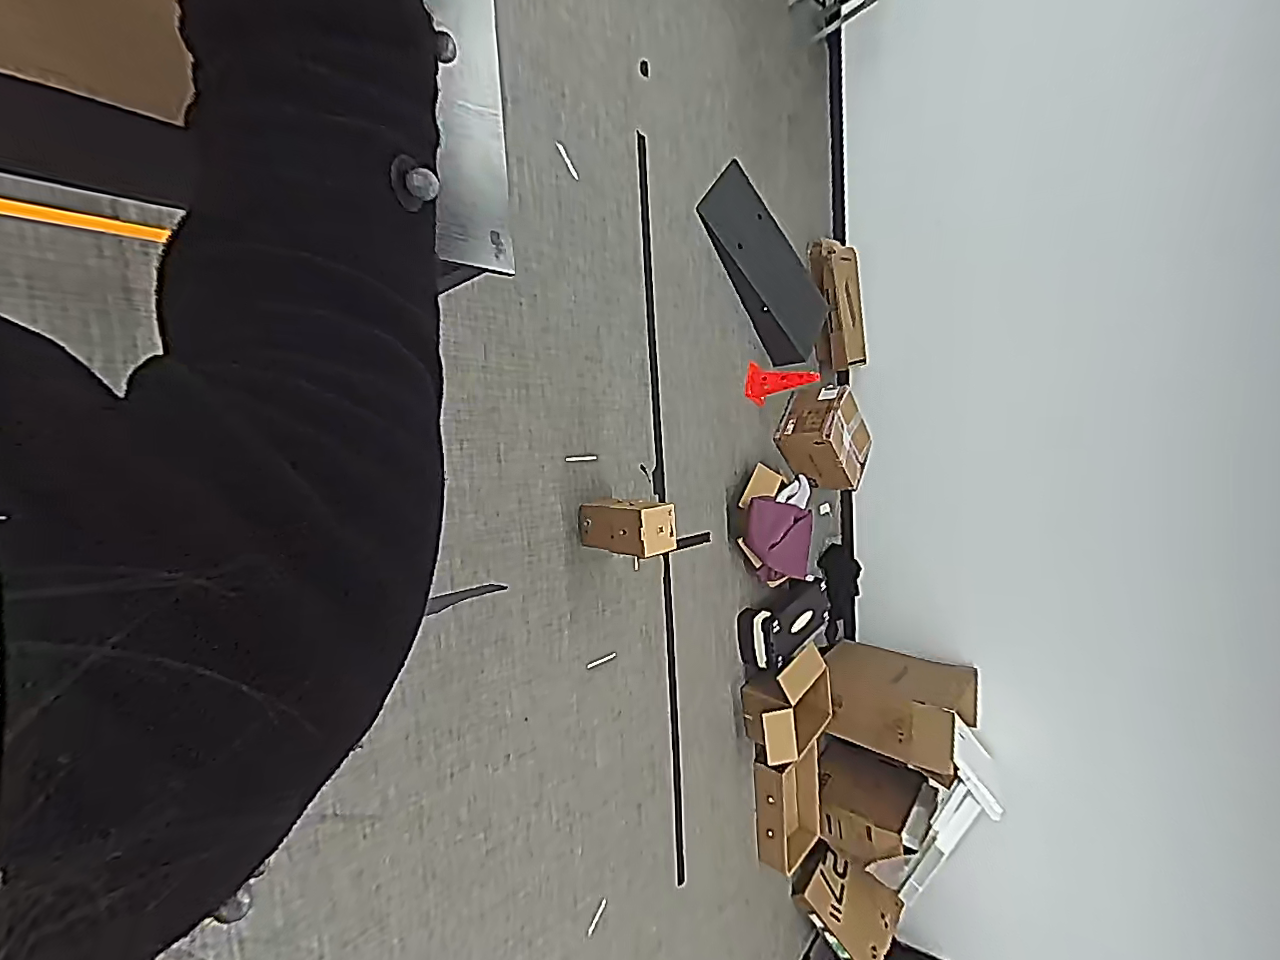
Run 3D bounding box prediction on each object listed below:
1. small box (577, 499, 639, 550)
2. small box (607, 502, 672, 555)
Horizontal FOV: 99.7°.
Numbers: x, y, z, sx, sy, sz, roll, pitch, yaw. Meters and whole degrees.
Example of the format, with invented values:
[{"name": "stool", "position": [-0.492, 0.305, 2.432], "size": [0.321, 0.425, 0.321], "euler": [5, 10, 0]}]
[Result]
[{"name": "small box", "position": [-0.116, 0.163, 2.043], "size": [0.179, 0.176, 0.168], "euler": [-9, 96, -46]}, {"name": "small box", "position": [-0.007, 0.169, 1.920], "size": [0.179, 0.176, 0.168], "euler": [-7, 95, -47]}]
